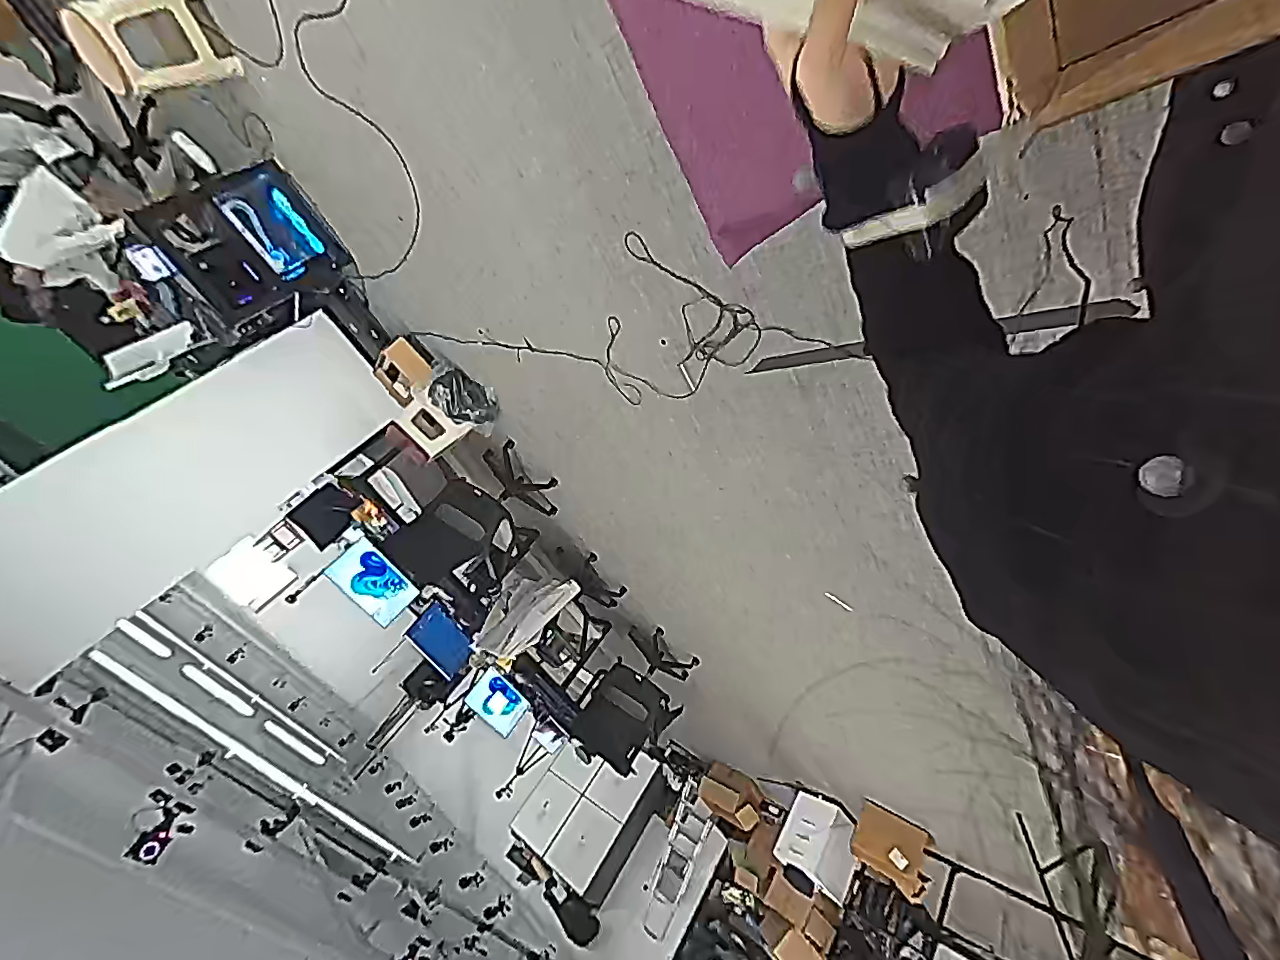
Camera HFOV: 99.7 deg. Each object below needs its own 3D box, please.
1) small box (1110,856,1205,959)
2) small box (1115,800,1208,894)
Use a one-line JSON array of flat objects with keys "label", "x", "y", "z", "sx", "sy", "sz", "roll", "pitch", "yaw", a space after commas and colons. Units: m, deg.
[{"label": "small box", "x": 1.376, "y": 1.155, "z": 1.439, "sx": 0.168, "sy": 0.176, "sz": 0.179, "roll": 7, "pitch": 137, "yaw": 43}, {"label": "small box", "x": 1.460, "y": 1.035, "z": 1.516, "sx": 0.179, "sy": 0.176, "sz": 0.168, "roll": 4, "pitch": 136, "yaw": 44}]
